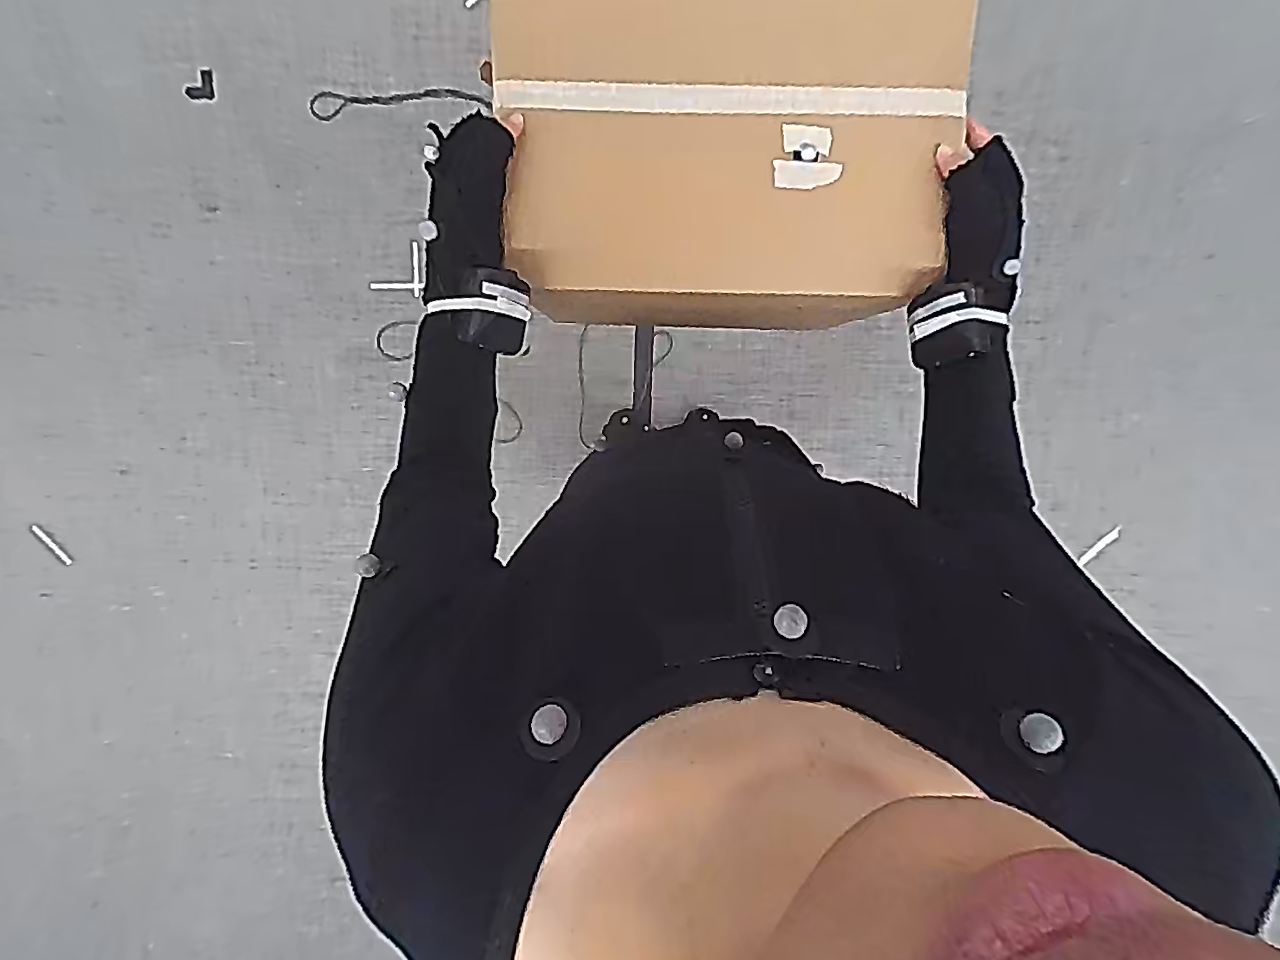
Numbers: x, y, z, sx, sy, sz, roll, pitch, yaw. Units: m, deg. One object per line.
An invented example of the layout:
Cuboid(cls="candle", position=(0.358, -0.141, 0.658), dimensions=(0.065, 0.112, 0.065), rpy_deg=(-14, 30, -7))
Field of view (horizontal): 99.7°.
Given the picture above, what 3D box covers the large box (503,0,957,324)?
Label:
Cuboid(cls="large box", position=(0.075, -0.359, 0.632), dimensions=(0.408, 0.320, 0.320), rpy_deg=(1, 101, -1))
